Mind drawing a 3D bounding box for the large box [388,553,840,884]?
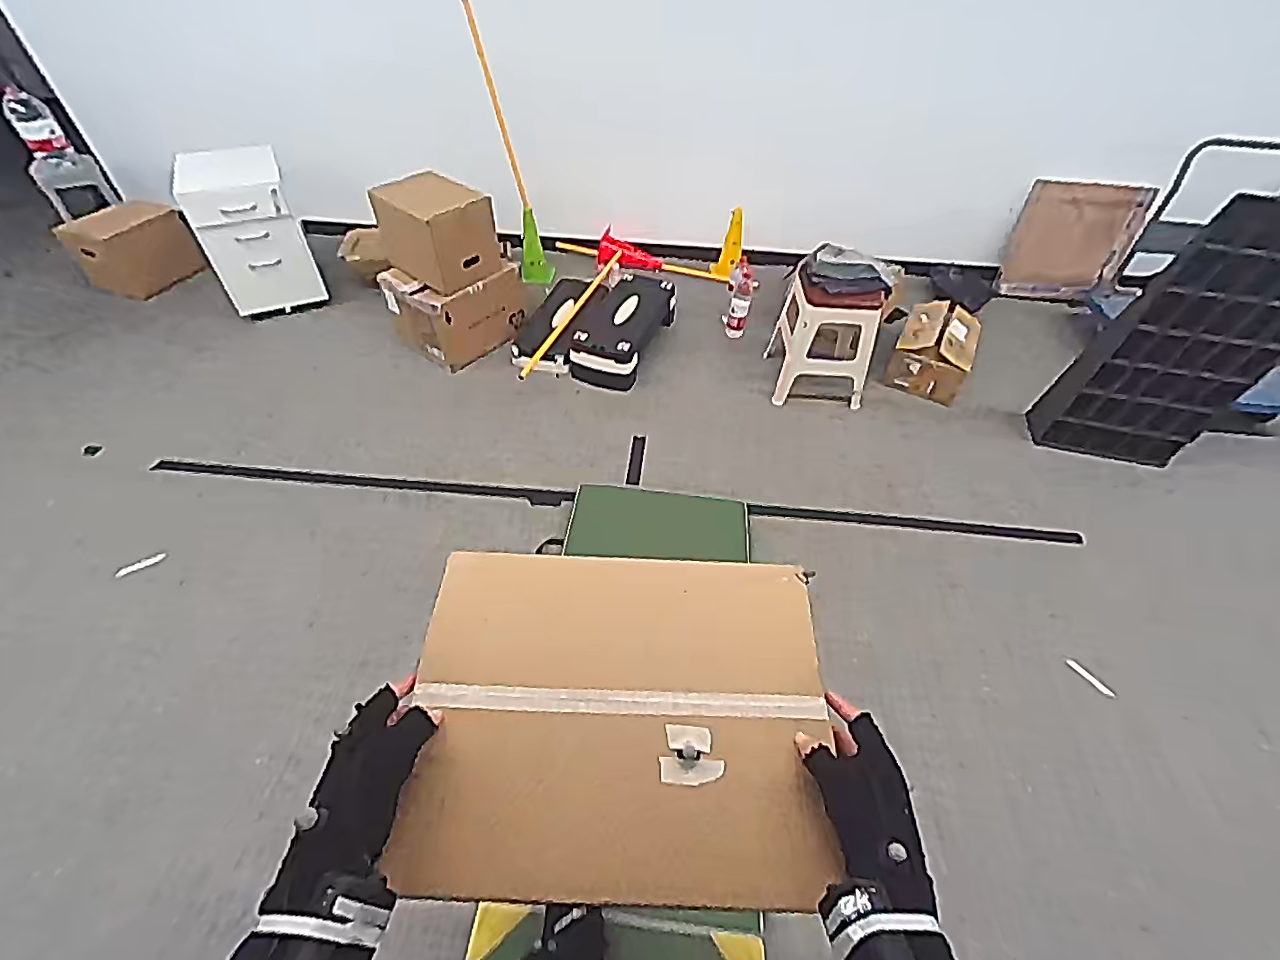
[{"bbox_3d":[-0.026,0.304,0.673,0.408,0.320,0.320,3,55,-1],"label":"large box"}]
